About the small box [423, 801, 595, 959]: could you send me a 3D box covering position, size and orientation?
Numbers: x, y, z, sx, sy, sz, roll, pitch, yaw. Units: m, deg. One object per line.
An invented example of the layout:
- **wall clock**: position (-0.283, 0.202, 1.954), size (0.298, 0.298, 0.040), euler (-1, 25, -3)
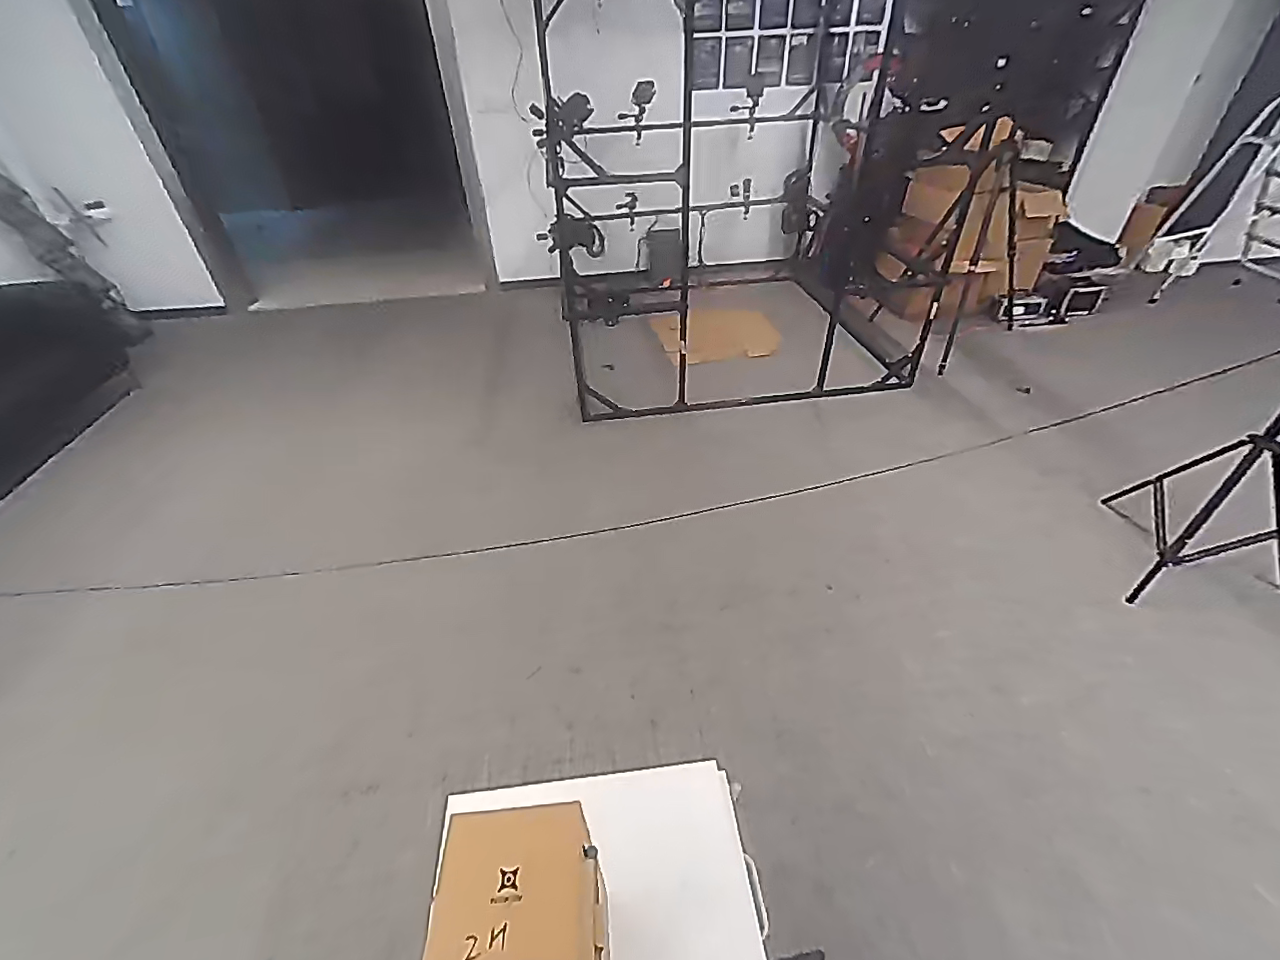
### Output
- **small box**: position (-0.147, 0.529, 0.663), size (0.168, 0.176, 0.179), euler (-5, 37, -1)
